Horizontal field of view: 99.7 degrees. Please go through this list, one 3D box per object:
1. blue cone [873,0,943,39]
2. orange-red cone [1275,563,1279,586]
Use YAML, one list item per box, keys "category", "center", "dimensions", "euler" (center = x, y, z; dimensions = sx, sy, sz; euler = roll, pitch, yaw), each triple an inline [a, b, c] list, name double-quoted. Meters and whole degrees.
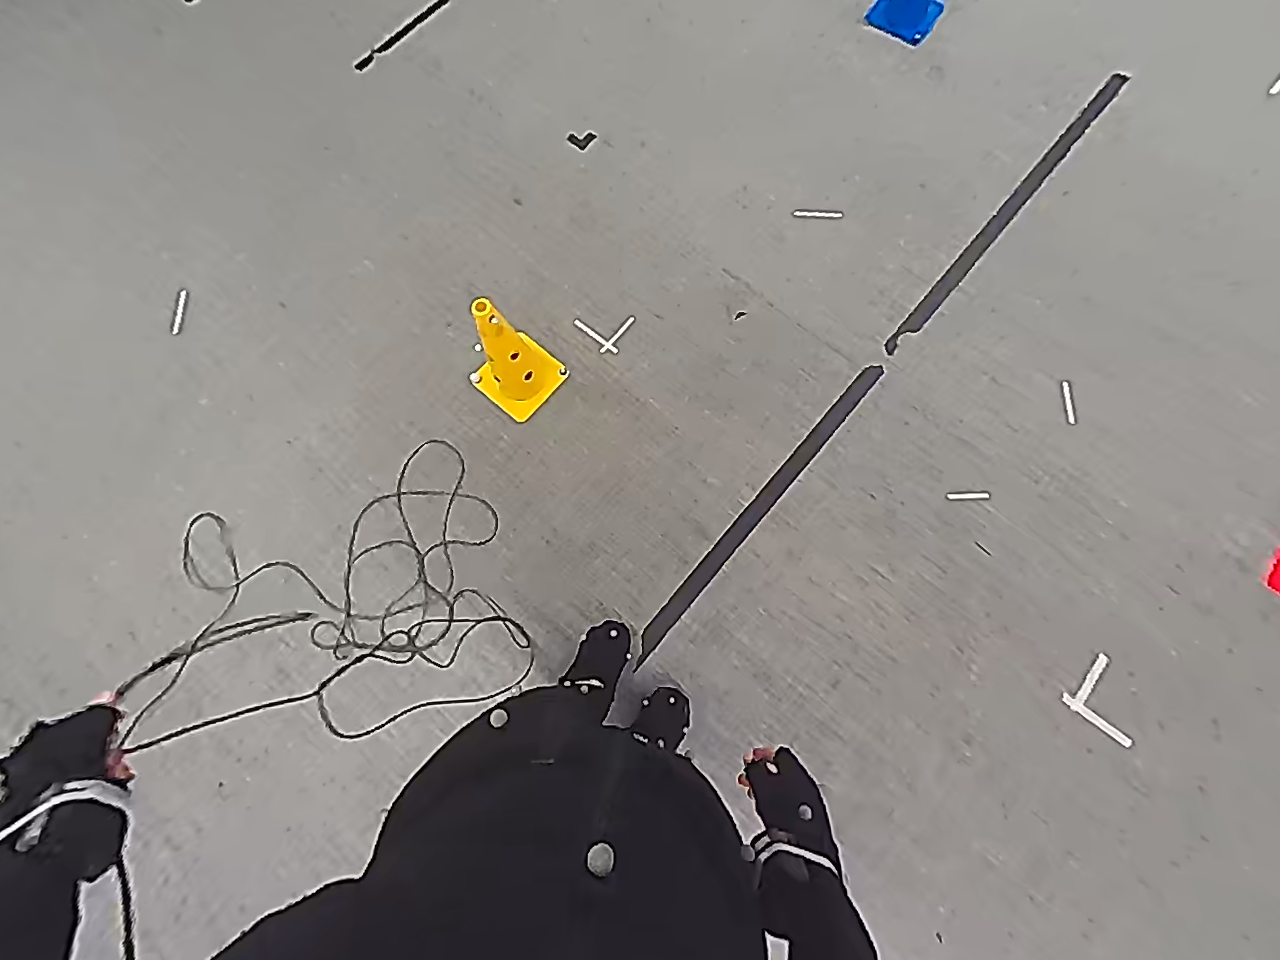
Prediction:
- category: "blue cone"
  center: [0.853, -1.544, 1.567]
  dimensions: [0.192, 0.380, 0.193]
  euler: [35, 80, 8]
- category: "orange-red cone"
  center: [1.667, 0.187, 1.149]
  dimensions: [0.198, 0.360, 0.199]
  euler: [36, 79, 8]
